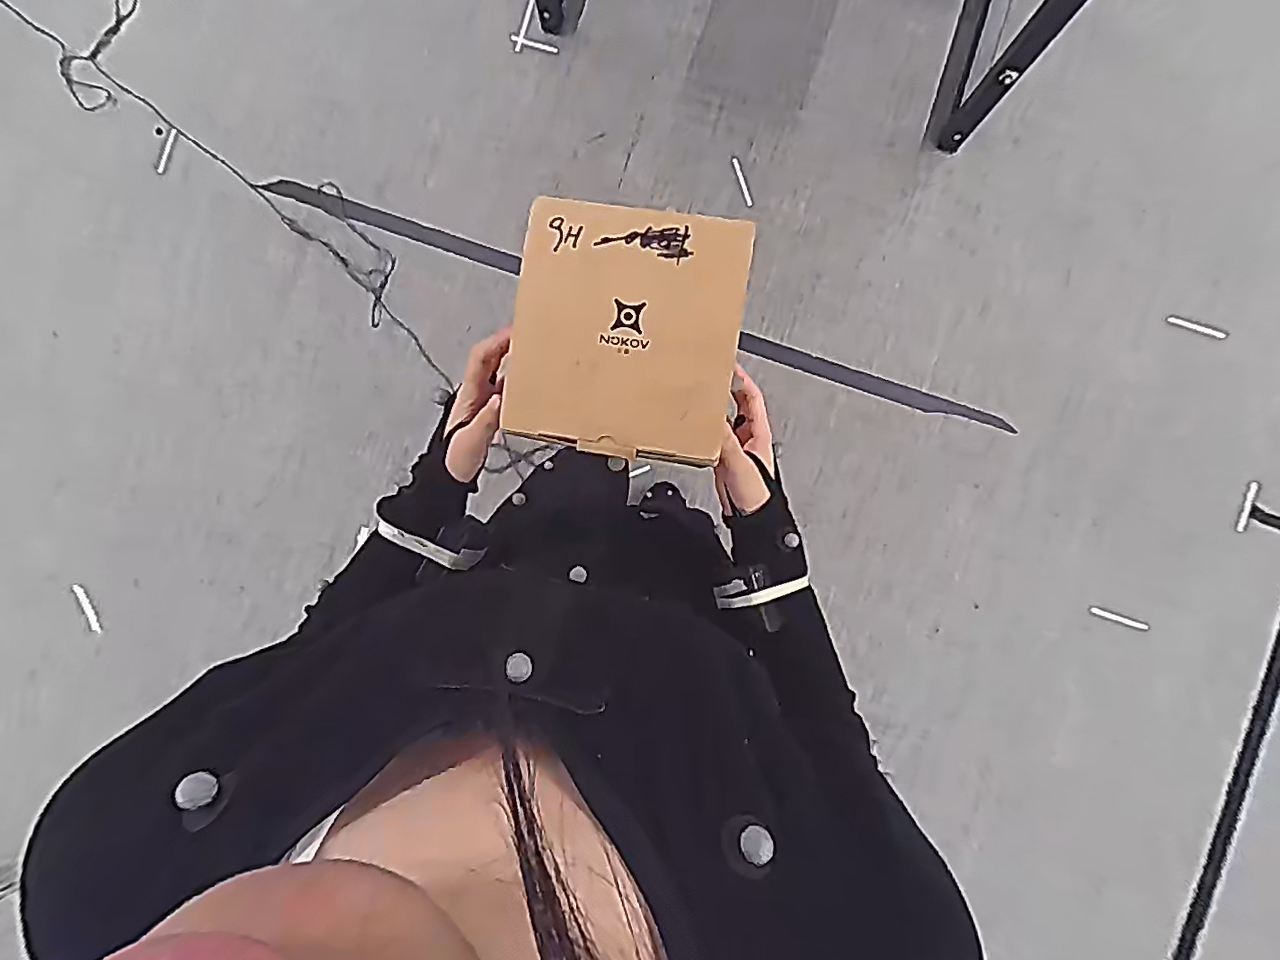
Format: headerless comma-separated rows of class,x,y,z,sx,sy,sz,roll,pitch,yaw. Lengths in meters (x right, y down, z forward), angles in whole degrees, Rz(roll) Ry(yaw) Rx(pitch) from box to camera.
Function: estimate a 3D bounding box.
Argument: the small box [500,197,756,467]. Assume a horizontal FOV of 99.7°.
small box,-0.006,-0.110,0.469,0.168,0.176,0.179,9,92,3
